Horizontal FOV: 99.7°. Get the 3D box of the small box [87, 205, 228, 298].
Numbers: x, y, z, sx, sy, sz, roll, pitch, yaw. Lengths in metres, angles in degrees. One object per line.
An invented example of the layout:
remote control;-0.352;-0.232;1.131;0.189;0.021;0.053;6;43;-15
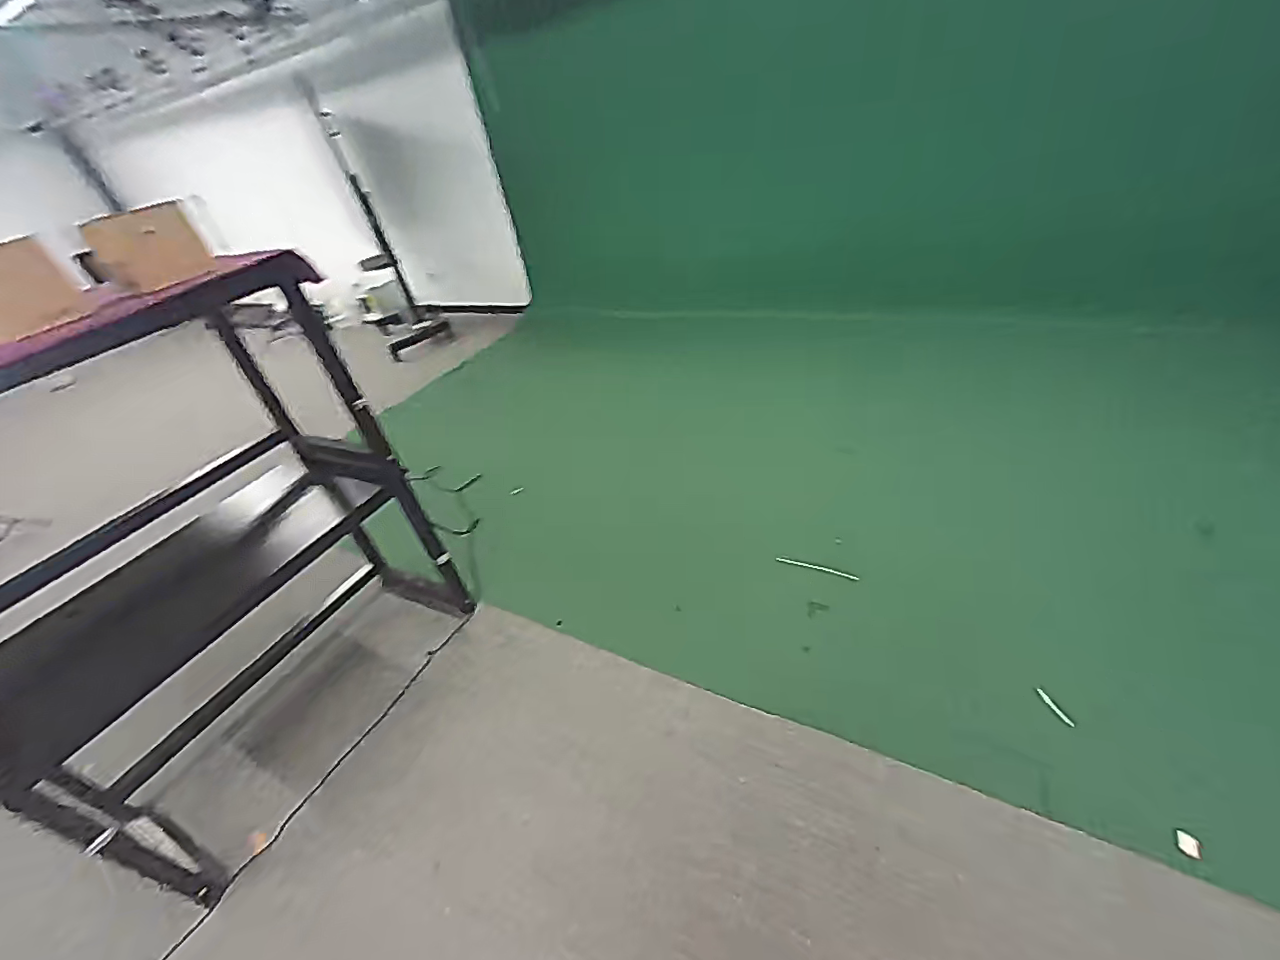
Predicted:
small box;-1.187;-0.561;1.341;0.168;0.176;0.179;10;41;29
